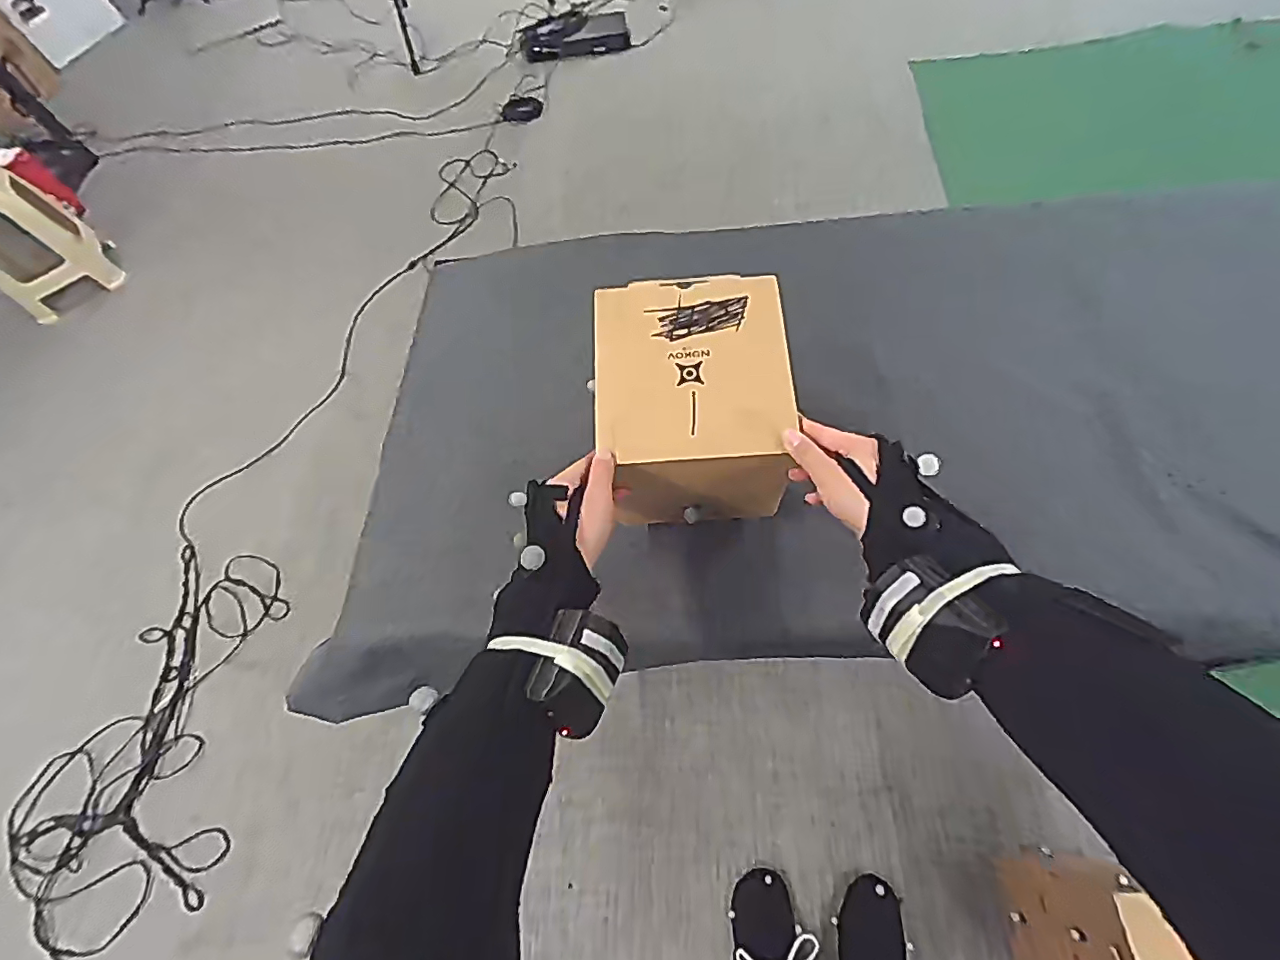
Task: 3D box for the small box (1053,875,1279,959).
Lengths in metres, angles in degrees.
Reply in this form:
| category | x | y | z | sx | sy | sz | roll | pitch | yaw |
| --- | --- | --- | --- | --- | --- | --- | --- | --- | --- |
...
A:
| category | x | y | z | sx | sy | sz | roll | pitch | yaw |
| --- | --- | --- | --- | --- | --- | --- | --- | --- | --- |
| small box | 0.729 | 0.658 | 0.744 | 0.179 | 0.176 | 0.168 | -5 | 62 | 6 |

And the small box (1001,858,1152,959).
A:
| category | x | y | z | sx | sy | sz | roll | pitch | yaw |
| --- | --- | --- | --- | --- | --- | --- | --- | --- | --- |
| small box | 0.732 | 0.734 | 0.891 | 0.179 | 0.176 | 0.168 | -4 | 60 | 7 |

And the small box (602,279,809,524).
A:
| category | x | y | z | sx | sy | sz | roll | pitch | yaw |
| --- | --- | --- | --- | --- | --- | --- | --- | --- | --- |
| small box | 0.056 | -0.066 | 0.530 | 0.168 | 0.176 | 0.179 | -4 | 69 | 4 |
